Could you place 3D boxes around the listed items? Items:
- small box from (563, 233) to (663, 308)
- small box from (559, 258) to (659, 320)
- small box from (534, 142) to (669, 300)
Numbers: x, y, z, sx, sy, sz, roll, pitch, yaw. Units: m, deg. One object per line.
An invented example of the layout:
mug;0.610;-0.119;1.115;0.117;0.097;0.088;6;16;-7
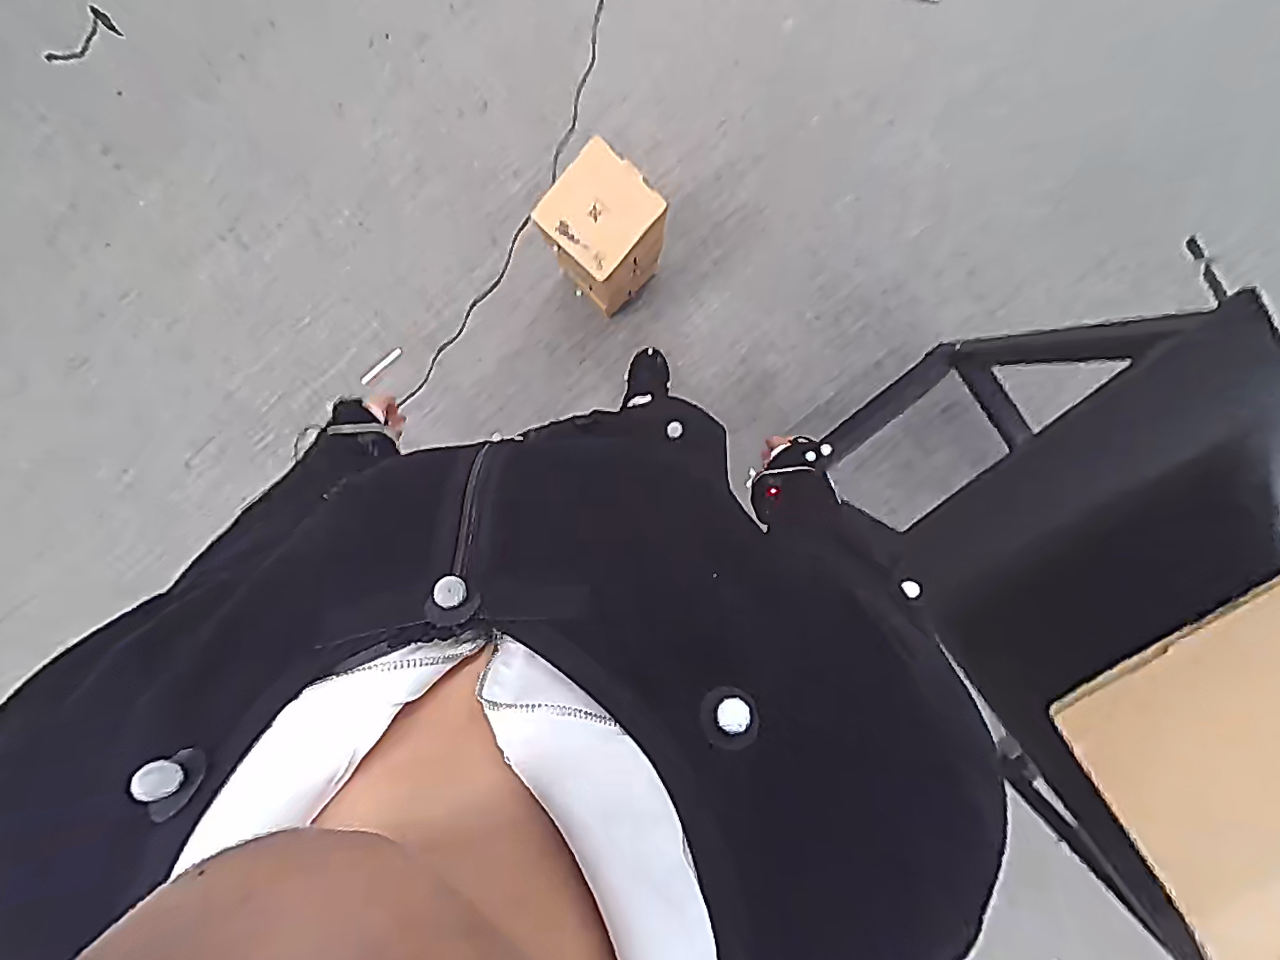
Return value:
small box;-0.069;-0.496;1.163;0.168;0.176;0.179;44;95;-8
small box;-0.075;-0.516;1.324;0.179;0.176;0.168;-42;97;7
small box;-0.069;-0.465;1.000;0.168;0.176;0.179;42;95;-6
